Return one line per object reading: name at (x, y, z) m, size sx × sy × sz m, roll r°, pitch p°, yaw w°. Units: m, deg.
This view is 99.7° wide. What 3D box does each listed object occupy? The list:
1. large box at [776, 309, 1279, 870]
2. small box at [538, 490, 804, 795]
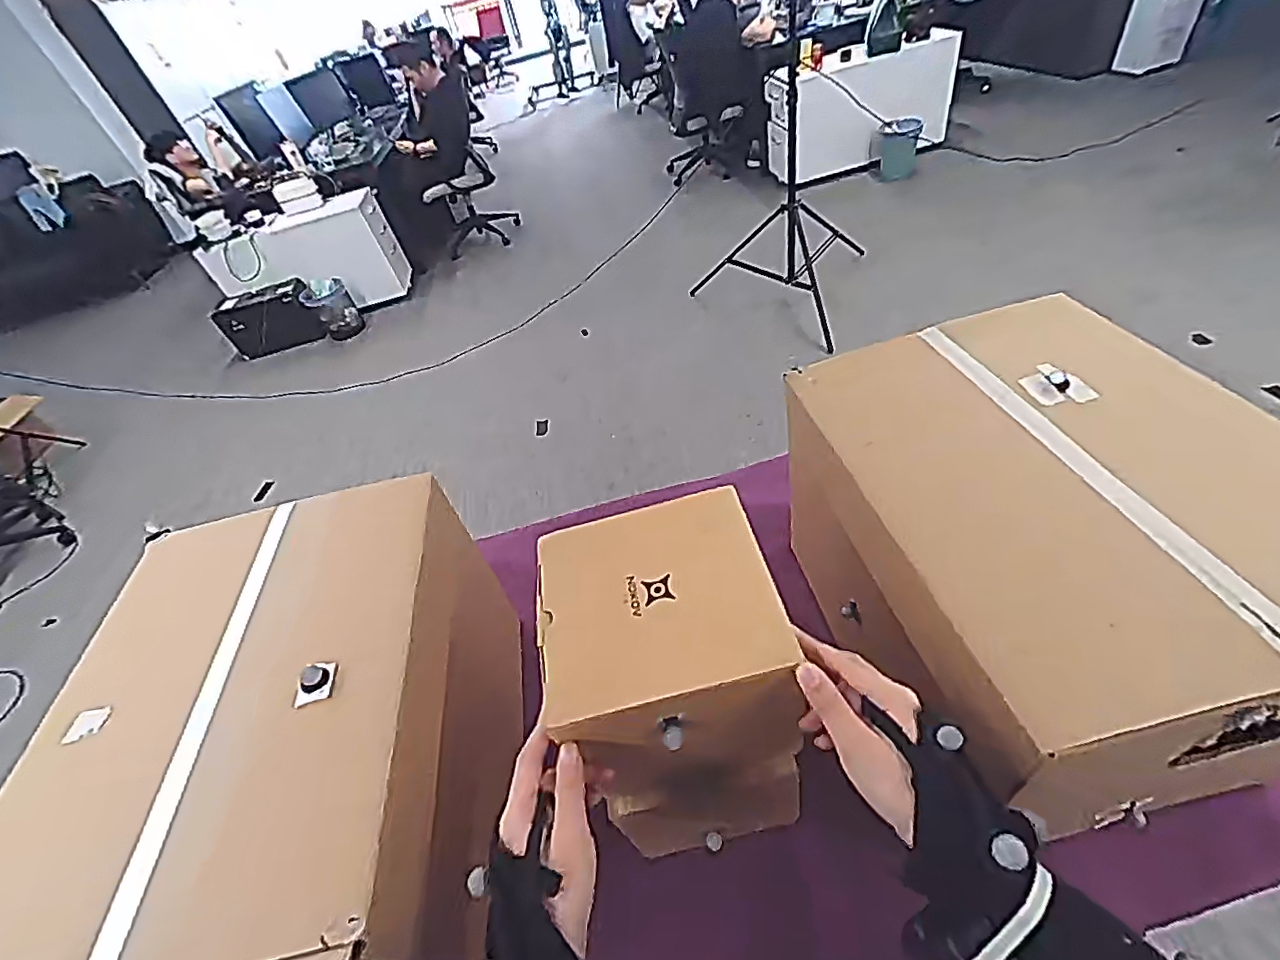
large box at (0.364, 0.091, 0.546) m, size 0.320 × 0.320 × 0.408 m, roll -15°, pitch 43°, yaw 0°
small box at (0.025, 0.140, 0.459) m, size 0.179 × 0.176 × 0.168 m, roll -16°, pitch 44°, yaw 2°
